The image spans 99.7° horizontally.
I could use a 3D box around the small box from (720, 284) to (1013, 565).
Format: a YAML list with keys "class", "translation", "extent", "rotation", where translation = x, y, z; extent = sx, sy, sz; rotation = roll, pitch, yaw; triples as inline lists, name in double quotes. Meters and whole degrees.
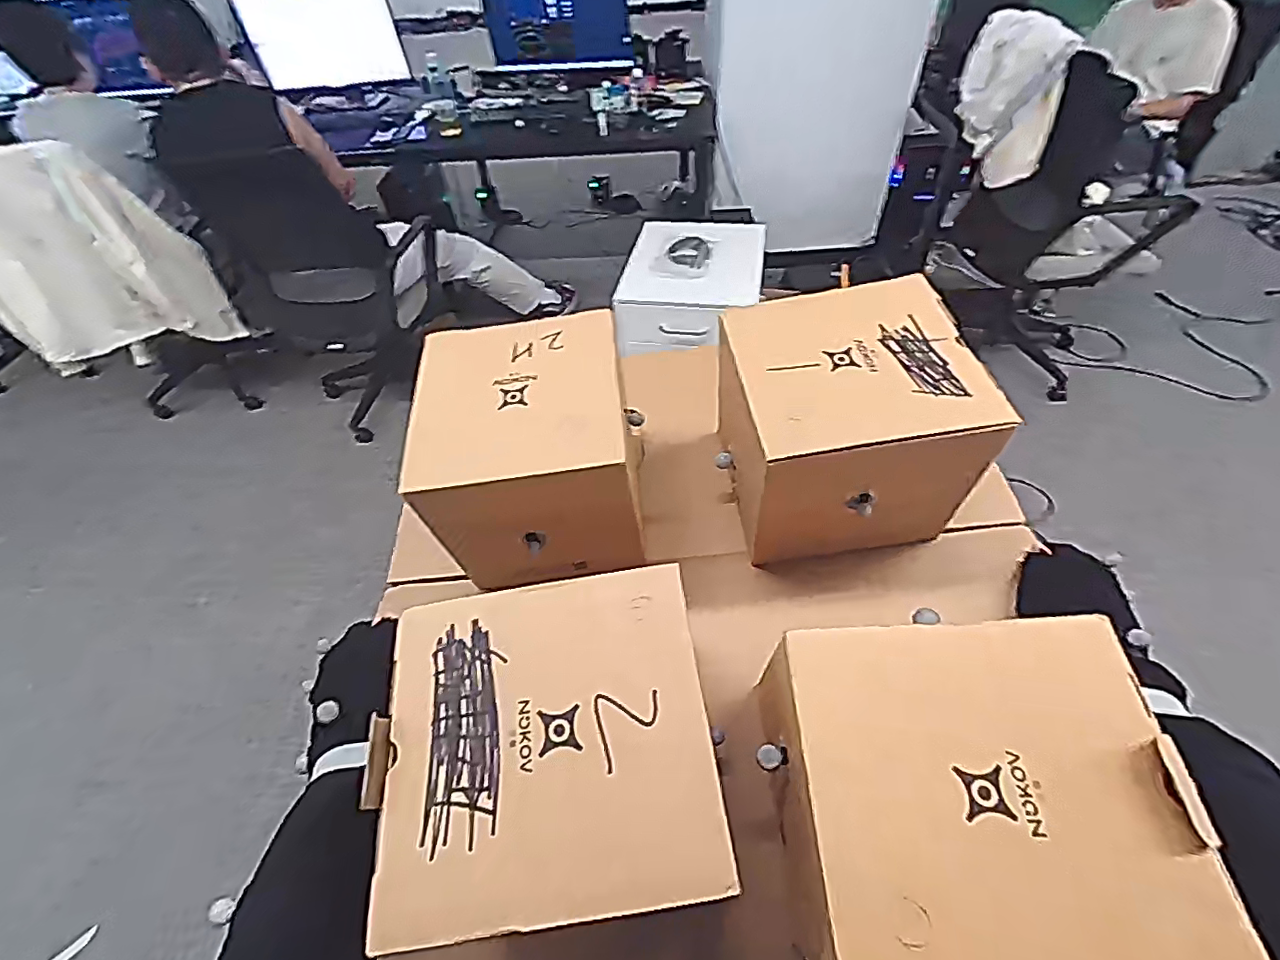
- class: "small box"
  translation: [0.170, -0.041, 0.478]
  extent: [0.179, 0.176, 0.168]
  rotation: [-9, 55, 3]

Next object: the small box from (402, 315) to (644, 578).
- class: "small box"
  translation: [-0.089, -0.021, 0.497]
  extent: [0.168, 0.176, 0.179]
  rotation: [-7, 55, 2]
